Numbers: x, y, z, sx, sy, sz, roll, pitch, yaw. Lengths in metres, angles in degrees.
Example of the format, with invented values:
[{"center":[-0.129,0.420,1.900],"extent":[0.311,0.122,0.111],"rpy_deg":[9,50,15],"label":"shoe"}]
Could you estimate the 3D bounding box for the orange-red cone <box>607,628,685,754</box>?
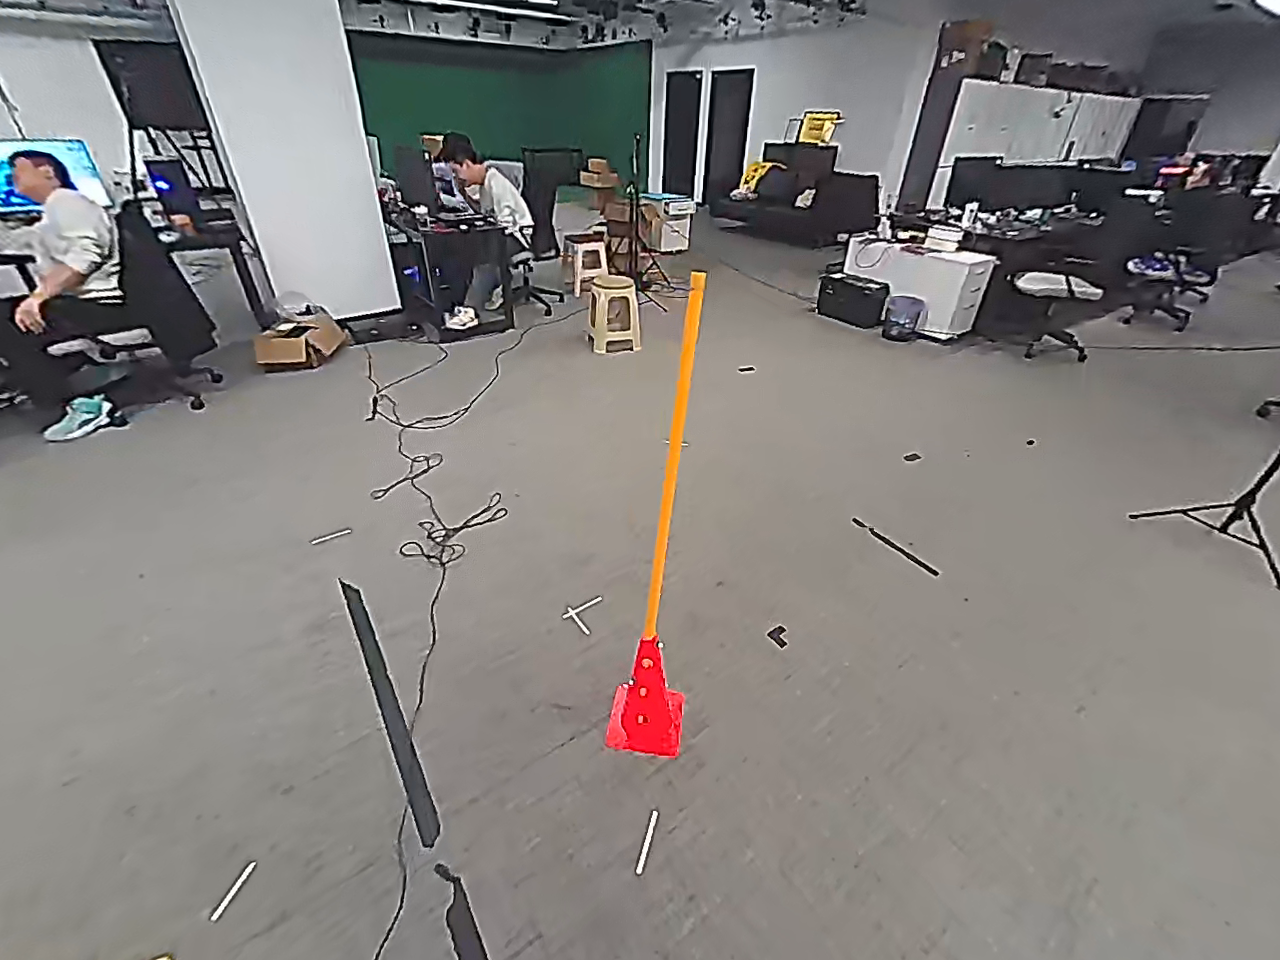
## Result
[{"center":[0.022,0.522,1.418],"extent":[0.198,0.360,0.199],"rpy_deg":[6,36,8],"label":"orange-red cone"}]
